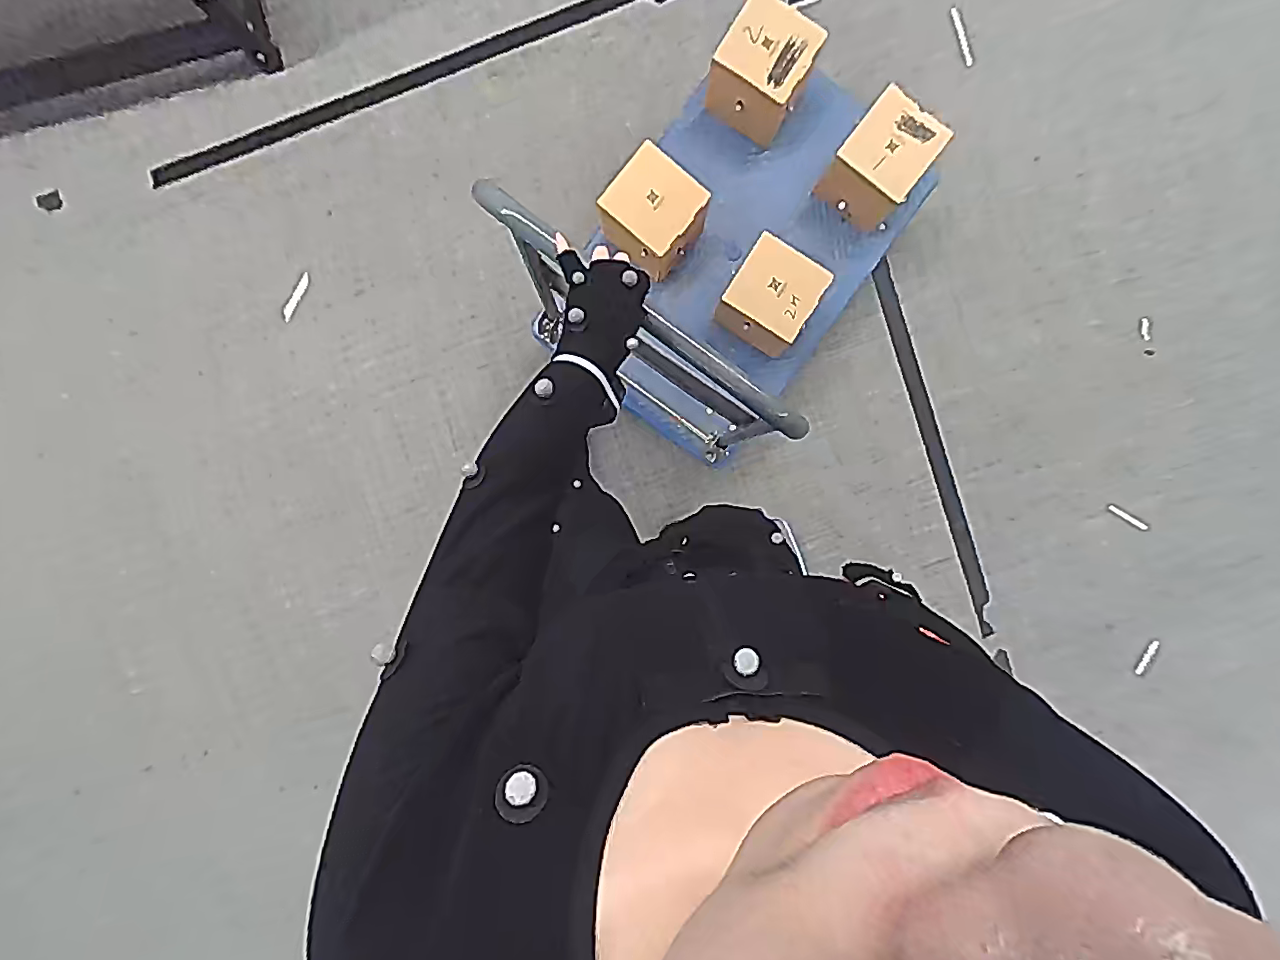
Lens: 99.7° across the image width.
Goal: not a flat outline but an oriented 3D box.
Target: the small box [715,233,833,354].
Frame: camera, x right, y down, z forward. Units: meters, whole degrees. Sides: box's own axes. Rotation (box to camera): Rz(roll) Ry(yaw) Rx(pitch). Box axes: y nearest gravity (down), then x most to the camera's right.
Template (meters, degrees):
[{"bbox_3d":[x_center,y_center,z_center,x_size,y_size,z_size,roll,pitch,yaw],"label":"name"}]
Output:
[{"bbox_3d":[0.281,-0.396,1.184,0.179,0.176,0.168,33,93,-1],"label":"small box"}]

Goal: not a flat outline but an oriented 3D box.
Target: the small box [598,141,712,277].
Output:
[{"bbox_3d":[0.029,-0.575,1.178,0.179,0.176,0.168,40,93,-3],"label":"small box"}]

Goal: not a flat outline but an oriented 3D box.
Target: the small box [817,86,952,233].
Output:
[{"bbox_3d":[0.513,-0.677,1.166,0.168,0.176,0.179,38,94,-1],"label":"small box"}]
